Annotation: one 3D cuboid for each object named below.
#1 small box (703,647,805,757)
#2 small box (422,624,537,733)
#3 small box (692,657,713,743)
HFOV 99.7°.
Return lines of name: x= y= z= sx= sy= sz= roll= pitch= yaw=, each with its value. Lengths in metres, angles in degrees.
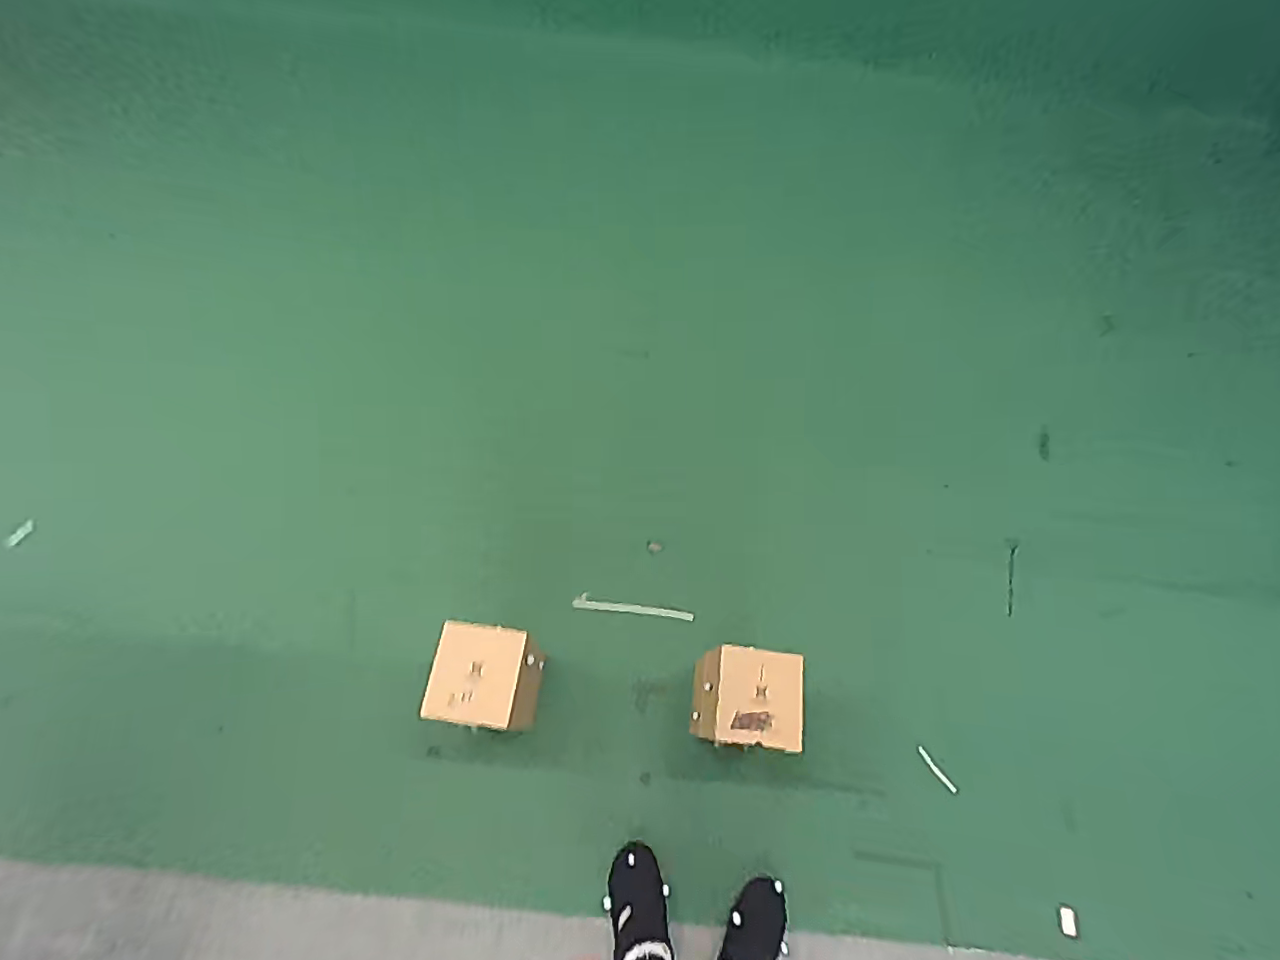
small box: x=0.227 y=0.453 z=1.104 sx=0.168 sy=0.176 sz=0.179 roll=9 pitch=66 yaw=0
small box: x=-0.312 y=0.405 z=1.095 sx=0.168 sy=0.176 sz=0.179 roll=8 pitch=65 yaw=2
small box: x=0.218 y=0.519 z=1.254 sx=0.168 sy=0.176 sz=0.179 roll=8 pitch=66 yaw=0
